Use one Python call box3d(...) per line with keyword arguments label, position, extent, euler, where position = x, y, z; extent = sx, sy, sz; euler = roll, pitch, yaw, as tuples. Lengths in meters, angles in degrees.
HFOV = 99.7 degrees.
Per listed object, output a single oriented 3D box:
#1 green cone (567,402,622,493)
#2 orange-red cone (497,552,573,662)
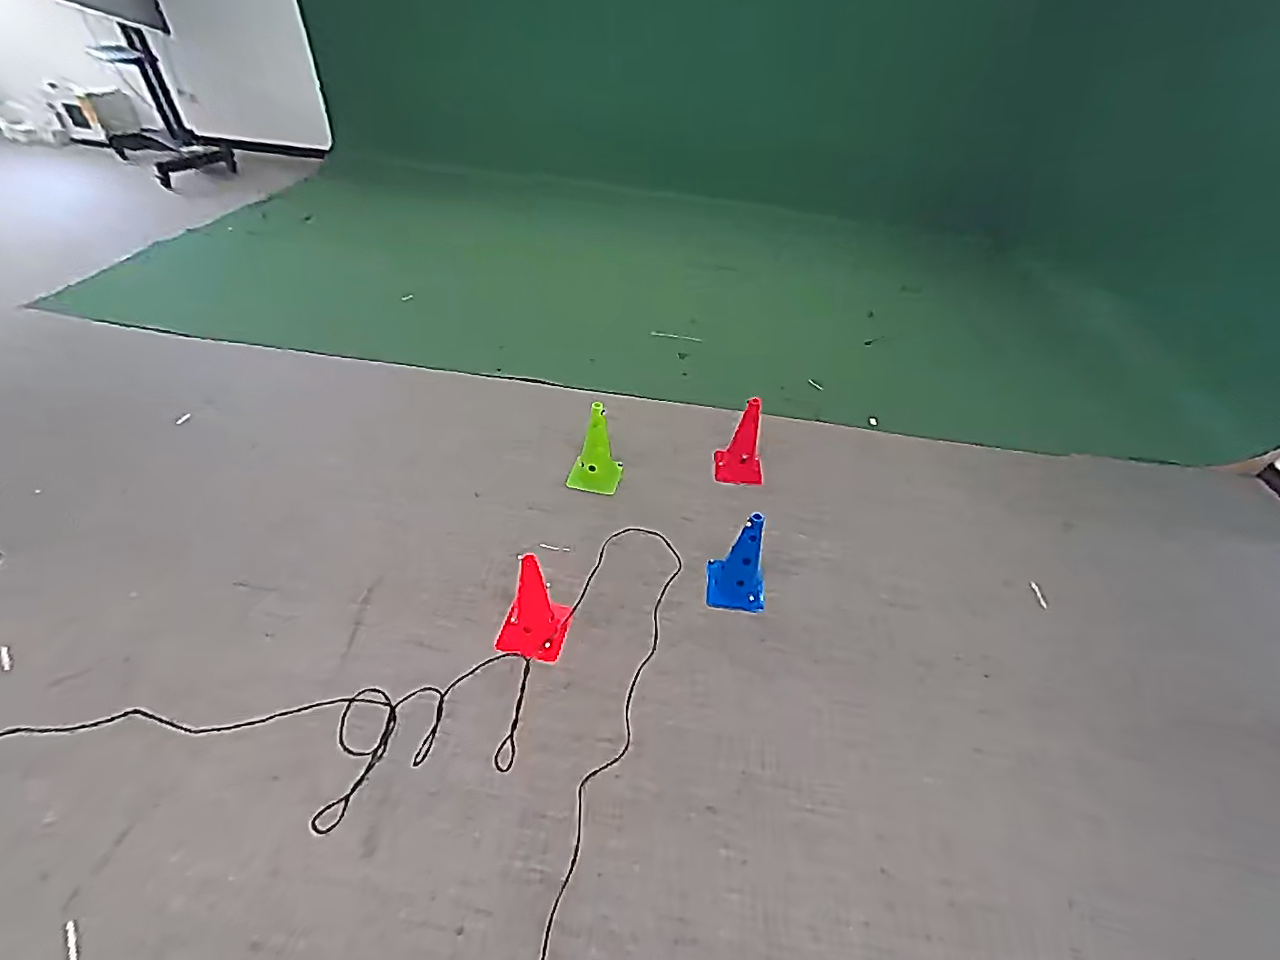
box3d(label="green cone", position=(-0.172, -0.152, 2.105), extent=(0.200, 0.368, 0.202), euler=(10, 44, 4))
box3d(label="orange-red cone", position=(-0.310, 0.337, 1.578), extent=(0.198, 0.360, 0.199), euler=(12, 42, 5))
